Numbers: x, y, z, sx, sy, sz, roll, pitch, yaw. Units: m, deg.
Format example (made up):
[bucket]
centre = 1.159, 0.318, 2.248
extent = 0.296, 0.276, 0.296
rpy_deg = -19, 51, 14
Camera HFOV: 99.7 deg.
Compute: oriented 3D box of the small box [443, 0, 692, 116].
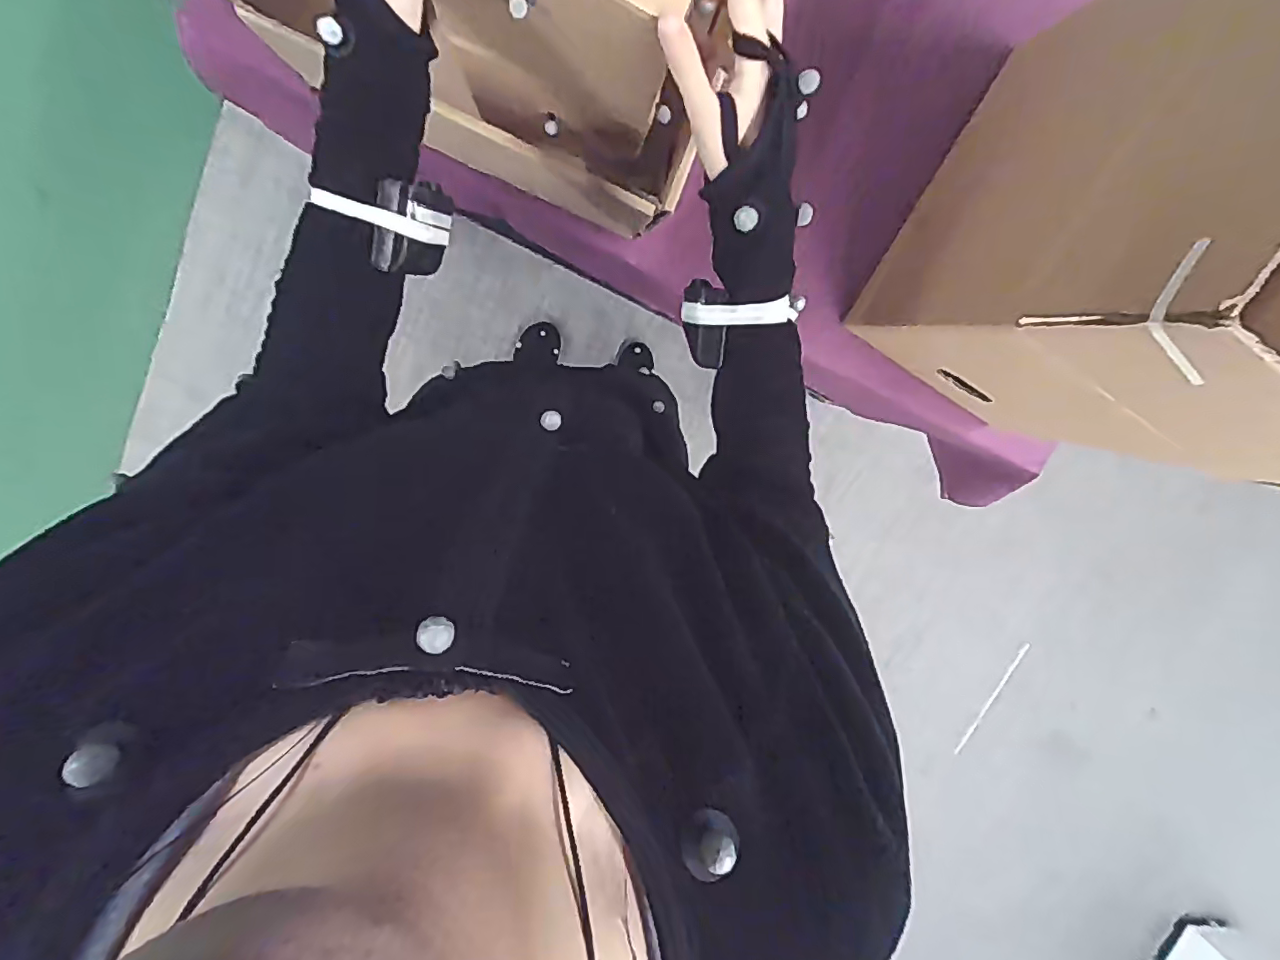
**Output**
[small box]
centre = -0.037, -0.383, 0.355
extent = 0.179, 0.176, 0.168
rpy_deg = 21, 103, -13
